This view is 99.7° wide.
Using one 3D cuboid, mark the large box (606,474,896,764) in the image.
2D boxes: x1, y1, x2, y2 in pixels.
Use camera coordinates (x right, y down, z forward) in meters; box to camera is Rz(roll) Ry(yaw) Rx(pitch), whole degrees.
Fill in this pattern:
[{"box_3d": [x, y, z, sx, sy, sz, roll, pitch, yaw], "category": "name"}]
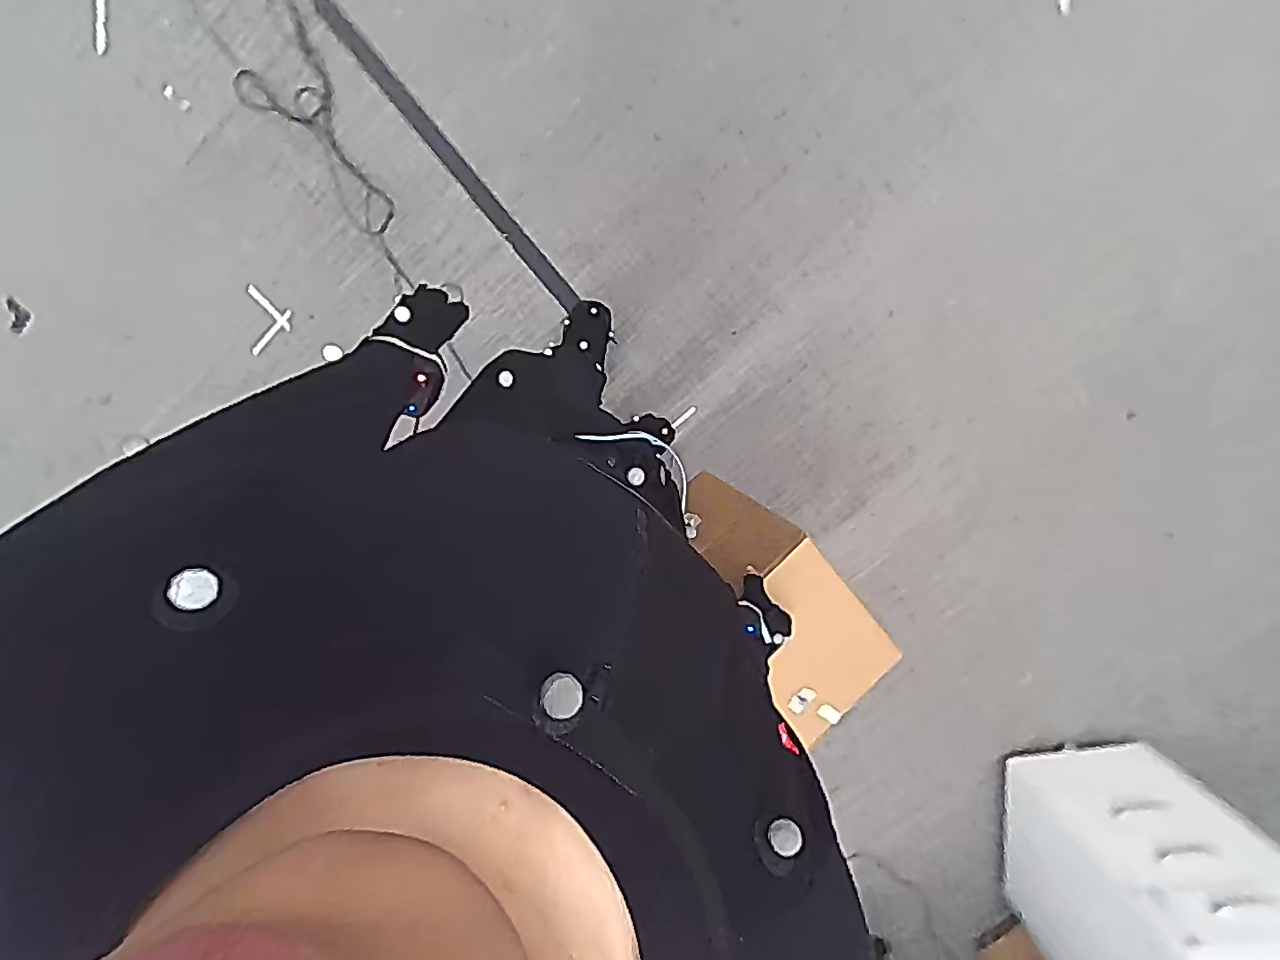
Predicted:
[{"box_3d": [0.185, 0.234, 1.038, 0.320, 0.408, 0.320, -45, 110, -2], "category": "large box"}]
